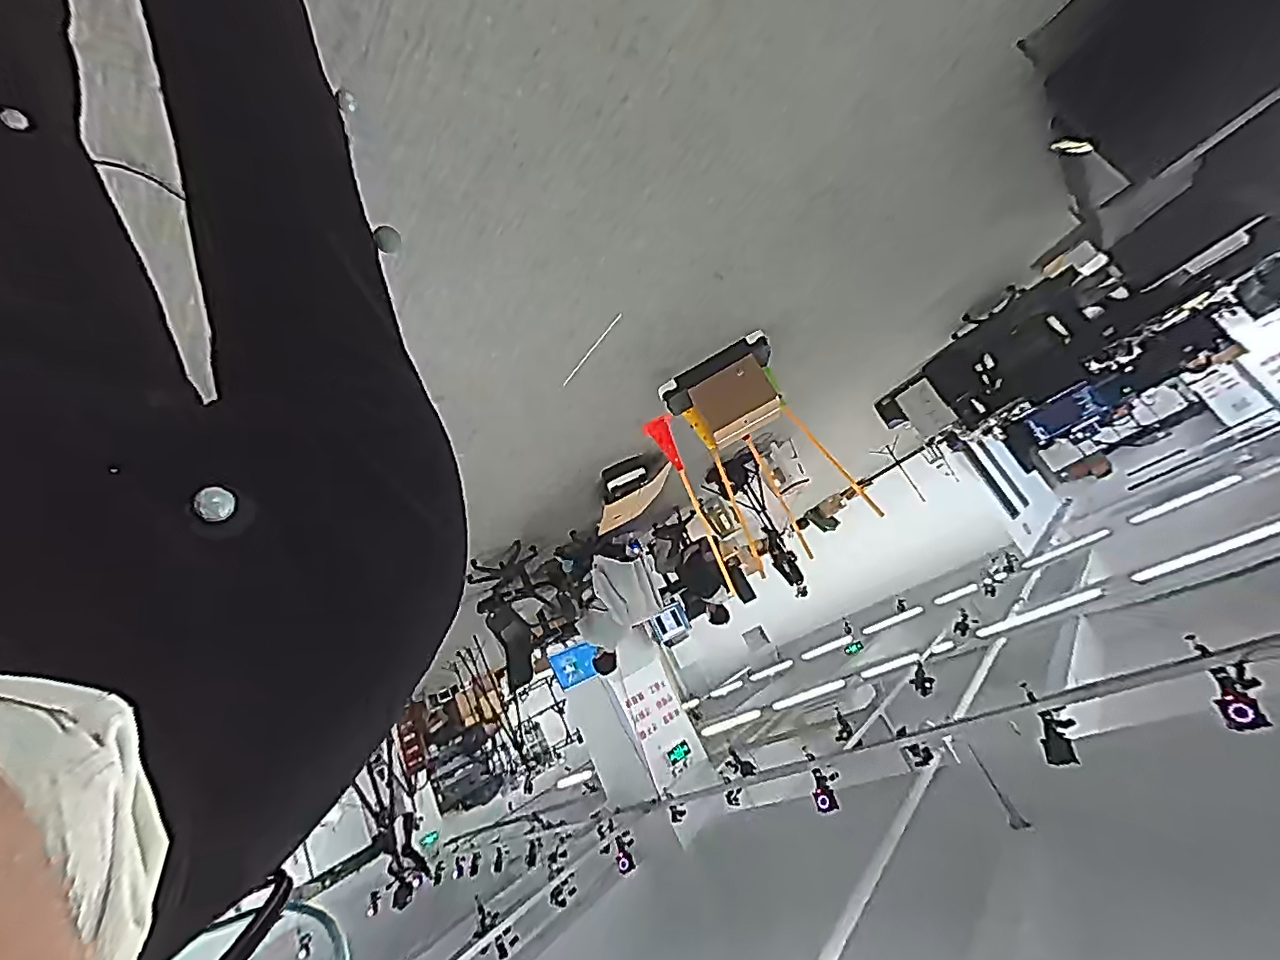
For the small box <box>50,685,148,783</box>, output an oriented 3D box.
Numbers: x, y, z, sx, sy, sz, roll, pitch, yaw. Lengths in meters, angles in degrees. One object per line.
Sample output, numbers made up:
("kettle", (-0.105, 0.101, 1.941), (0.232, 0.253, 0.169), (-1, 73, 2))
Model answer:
("small box", (-1.438, 0.670, 1.440), (0.168, 0.176, 0.179), (-9, 156, -46))
